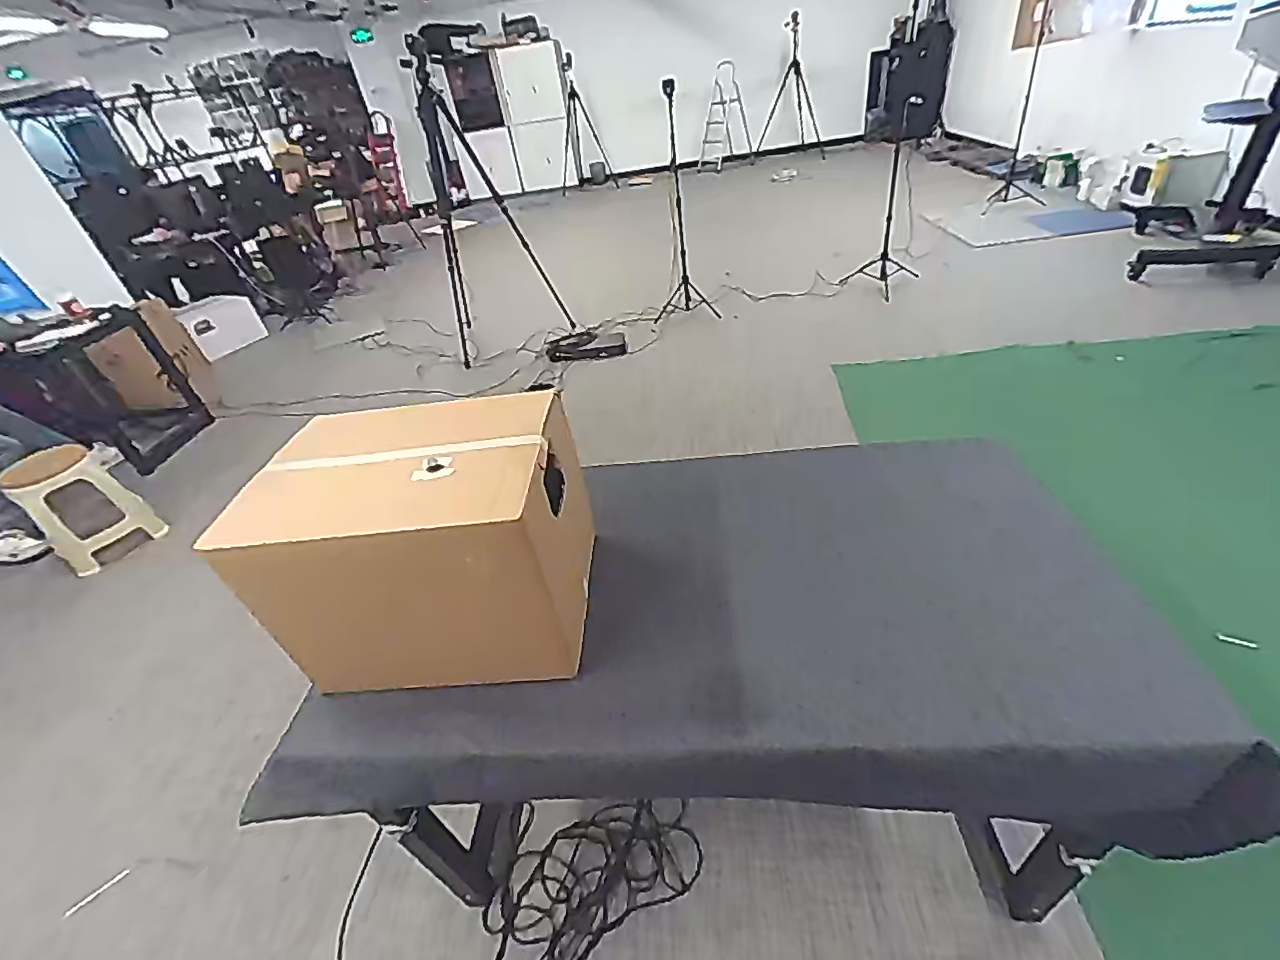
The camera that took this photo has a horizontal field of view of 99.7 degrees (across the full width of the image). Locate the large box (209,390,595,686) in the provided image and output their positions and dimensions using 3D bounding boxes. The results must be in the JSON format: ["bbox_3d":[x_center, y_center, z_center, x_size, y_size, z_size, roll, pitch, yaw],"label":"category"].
[{"bbox_3d":[-0.299,0.085,0.831,0.408,0.320,0.320,-5,38,4],"label":"large box"}]
